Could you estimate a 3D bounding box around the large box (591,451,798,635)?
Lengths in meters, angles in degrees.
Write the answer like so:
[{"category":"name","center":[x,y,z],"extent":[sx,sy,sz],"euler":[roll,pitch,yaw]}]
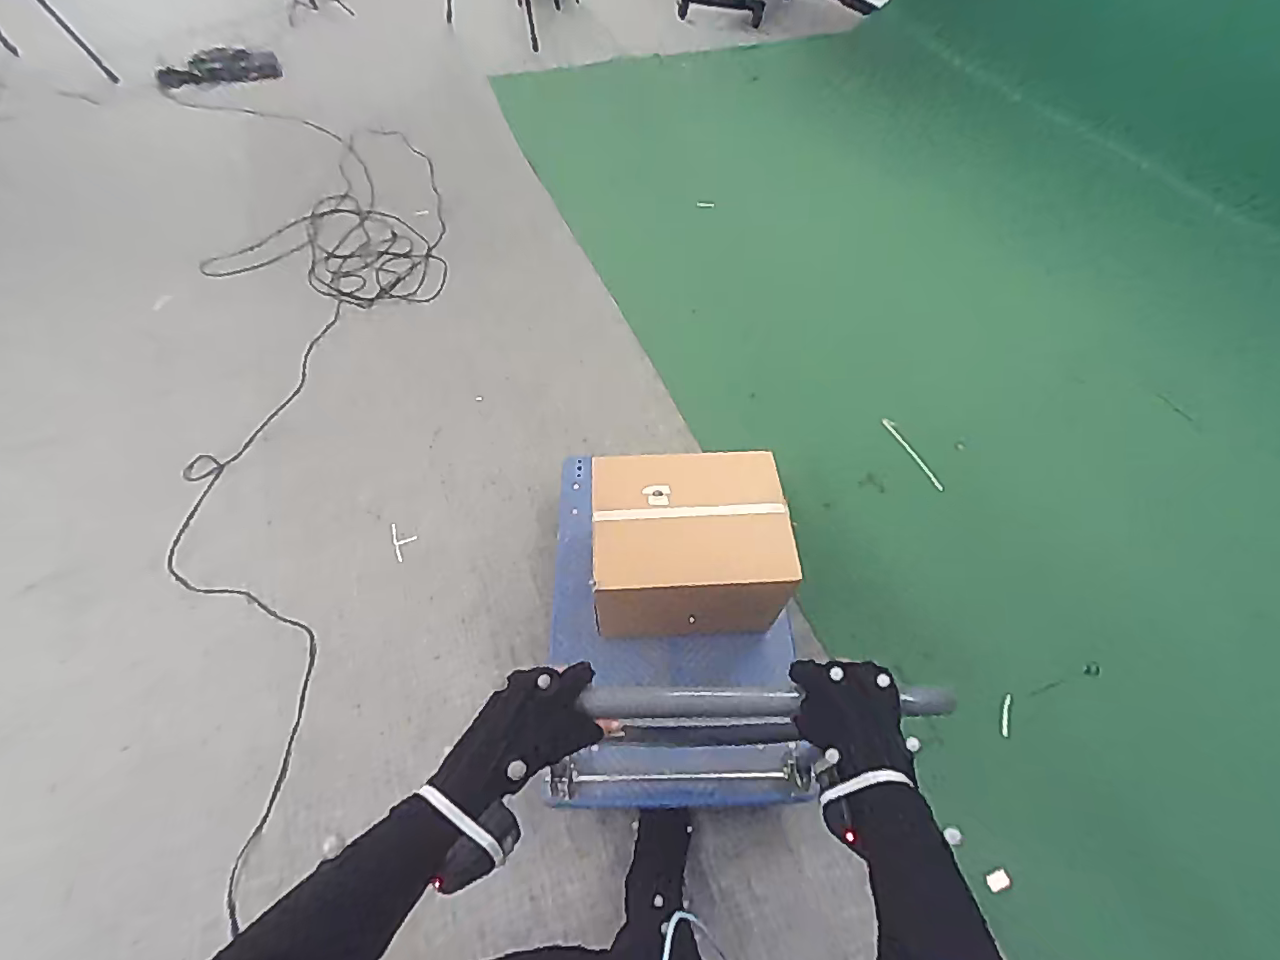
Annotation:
[{"category":"large box","center":[0.100,0.154,1.246],"extent":[0.408,0.320,0.320],"euler":[-3,56,-3]}]
